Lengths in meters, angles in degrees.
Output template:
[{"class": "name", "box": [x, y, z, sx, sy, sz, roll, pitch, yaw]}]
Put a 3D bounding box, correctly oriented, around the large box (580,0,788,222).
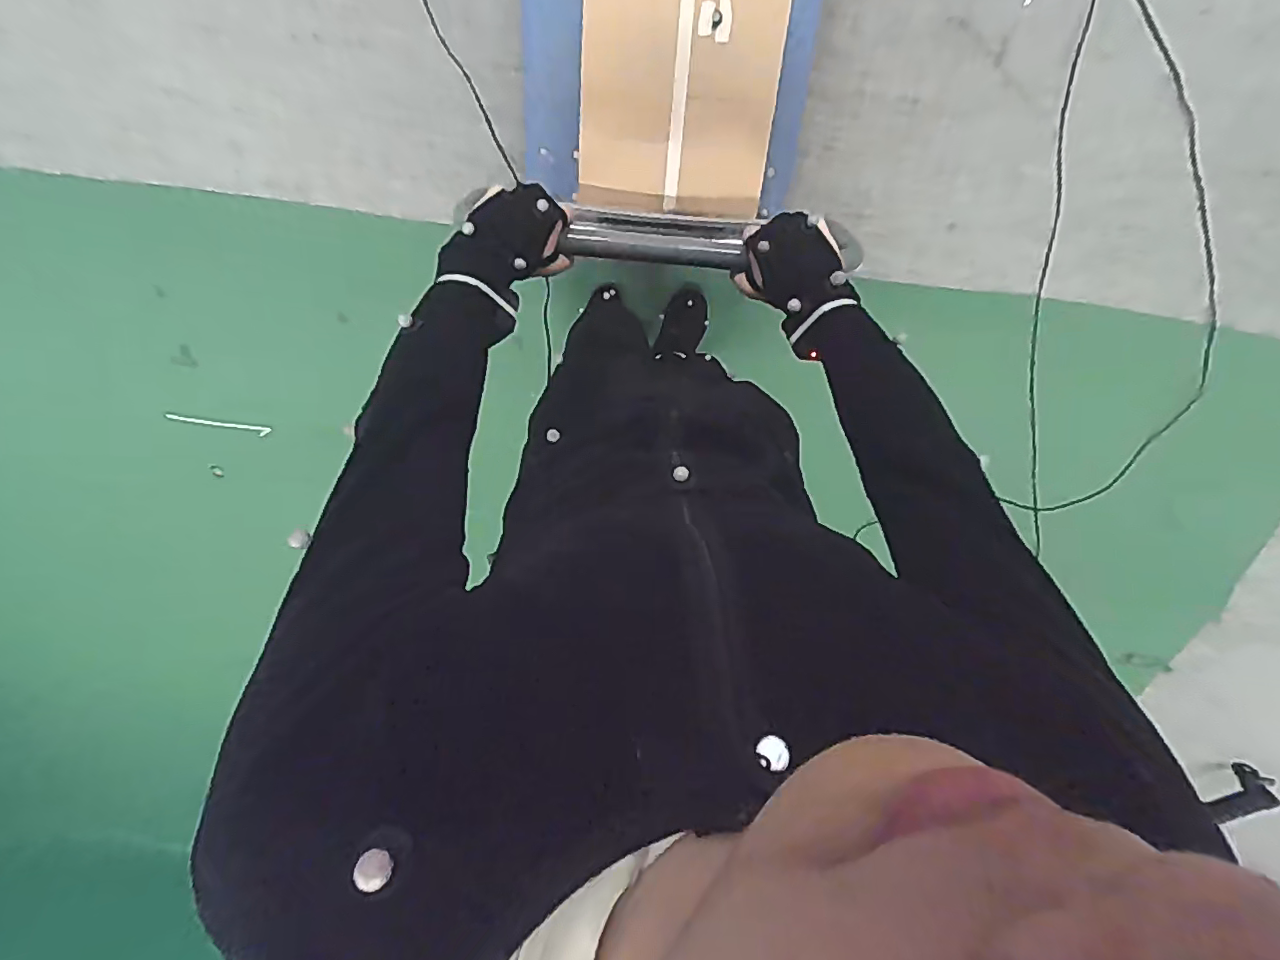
[{"class": "large box", "box": [0.065, -0.701, 0.990, 0.320, 0.320, 0.408, 4, 116, -2]}]
